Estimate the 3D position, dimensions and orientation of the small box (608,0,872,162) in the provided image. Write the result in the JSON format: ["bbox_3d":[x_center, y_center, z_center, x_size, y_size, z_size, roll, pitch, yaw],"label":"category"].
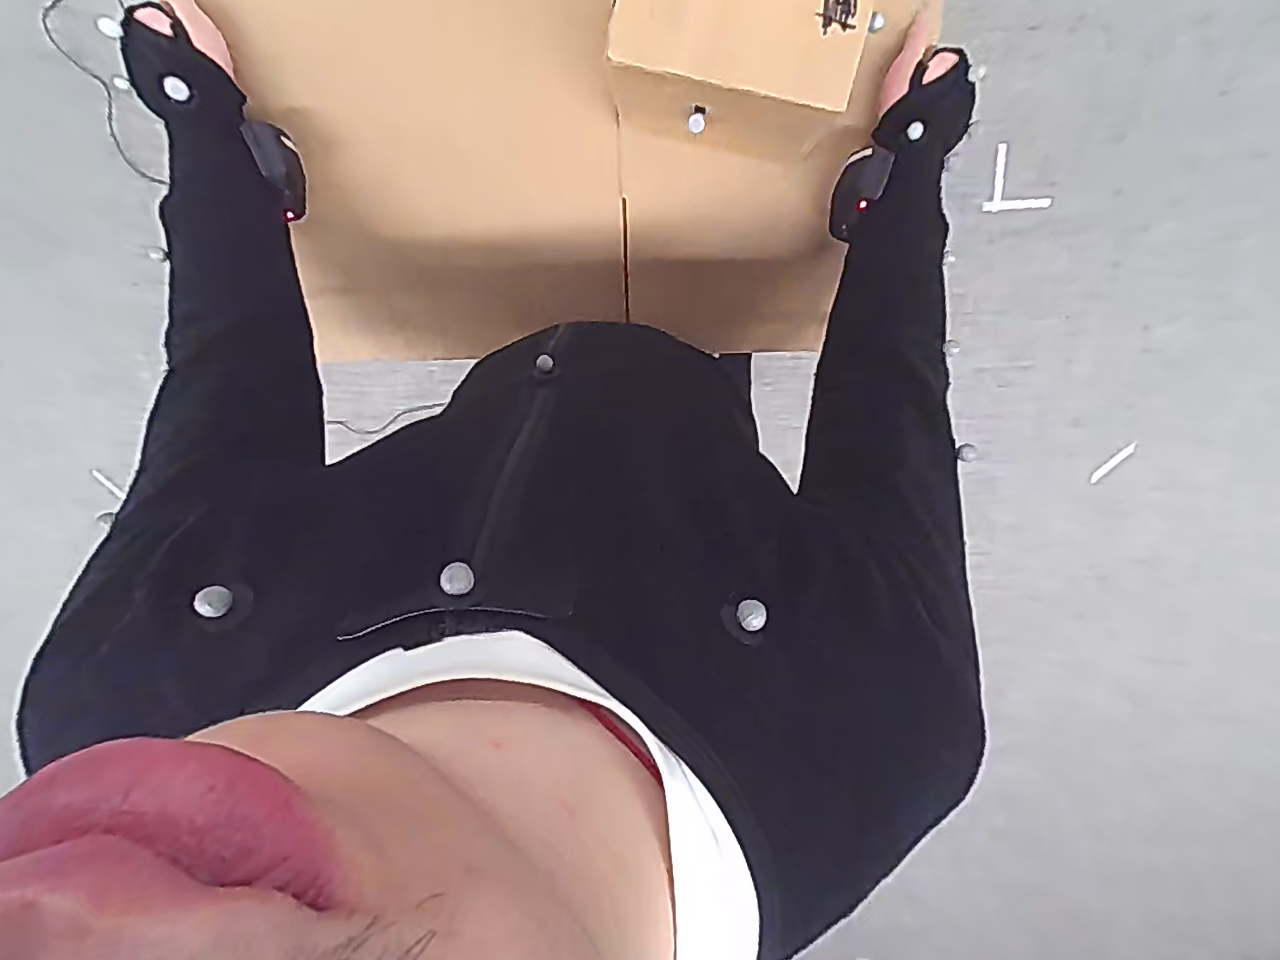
[{"bbox_3d":[0.083,-0.382,0.441,0.179,0.176,0.168,12,108,0],"label":"small box"}]
